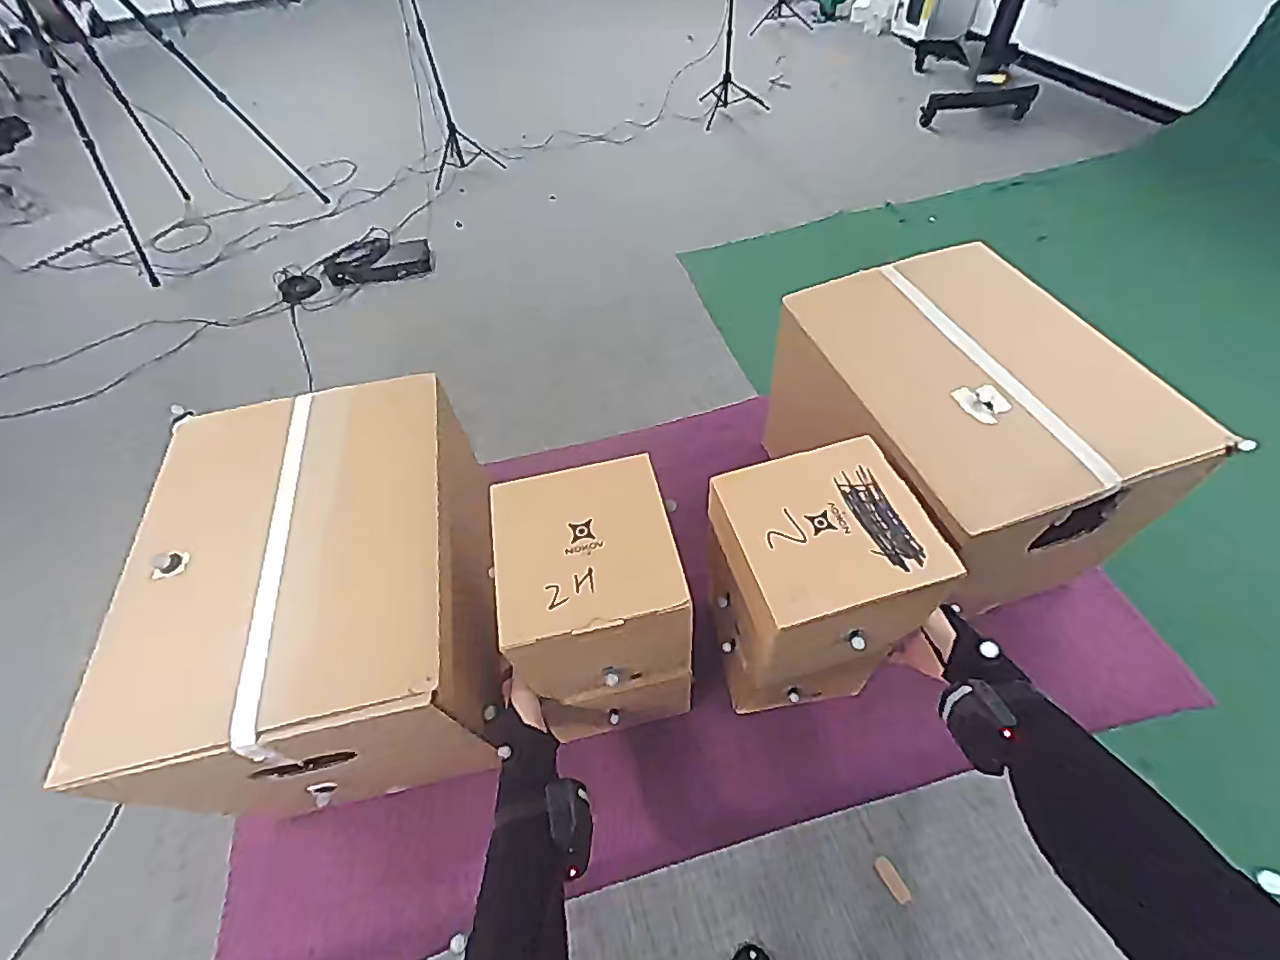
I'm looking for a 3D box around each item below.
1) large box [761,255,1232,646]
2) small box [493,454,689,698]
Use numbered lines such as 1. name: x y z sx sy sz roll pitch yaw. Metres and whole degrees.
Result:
1. large box: 0.407 -0.045 0.762 0.320 0.320 0.408 -17 54 -6
2. small box: -0.050 0.102 0.565 0.168 0.176 0.179 -12 53 -4
